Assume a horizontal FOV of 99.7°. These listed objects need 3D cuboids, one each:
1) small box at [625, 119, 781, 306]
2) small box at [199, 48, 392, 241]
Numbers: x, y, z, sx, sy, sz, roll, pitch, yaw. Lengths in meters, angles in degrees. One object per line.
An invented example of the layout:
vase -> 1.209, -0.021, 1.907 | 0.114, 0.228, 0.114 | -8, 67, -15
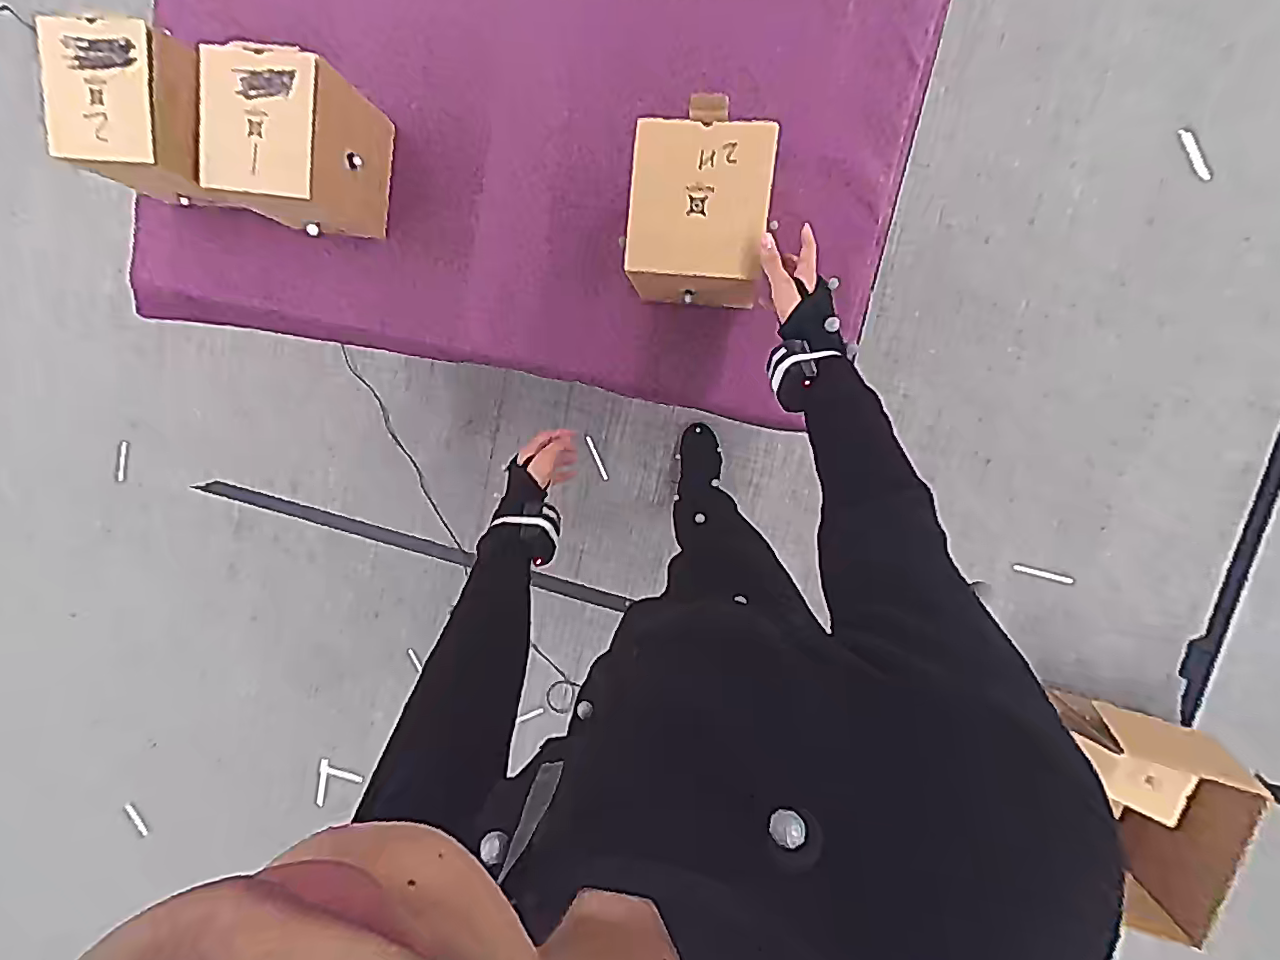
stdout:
small box -> 0.083, -0.334, 0.707 | 0.168, 0.176, 0.179 | 7, 97, 7
small box -> -0.479, -0.465, 0.774 | 0.168, 0.176, 0.179 | 9, 99, 7
